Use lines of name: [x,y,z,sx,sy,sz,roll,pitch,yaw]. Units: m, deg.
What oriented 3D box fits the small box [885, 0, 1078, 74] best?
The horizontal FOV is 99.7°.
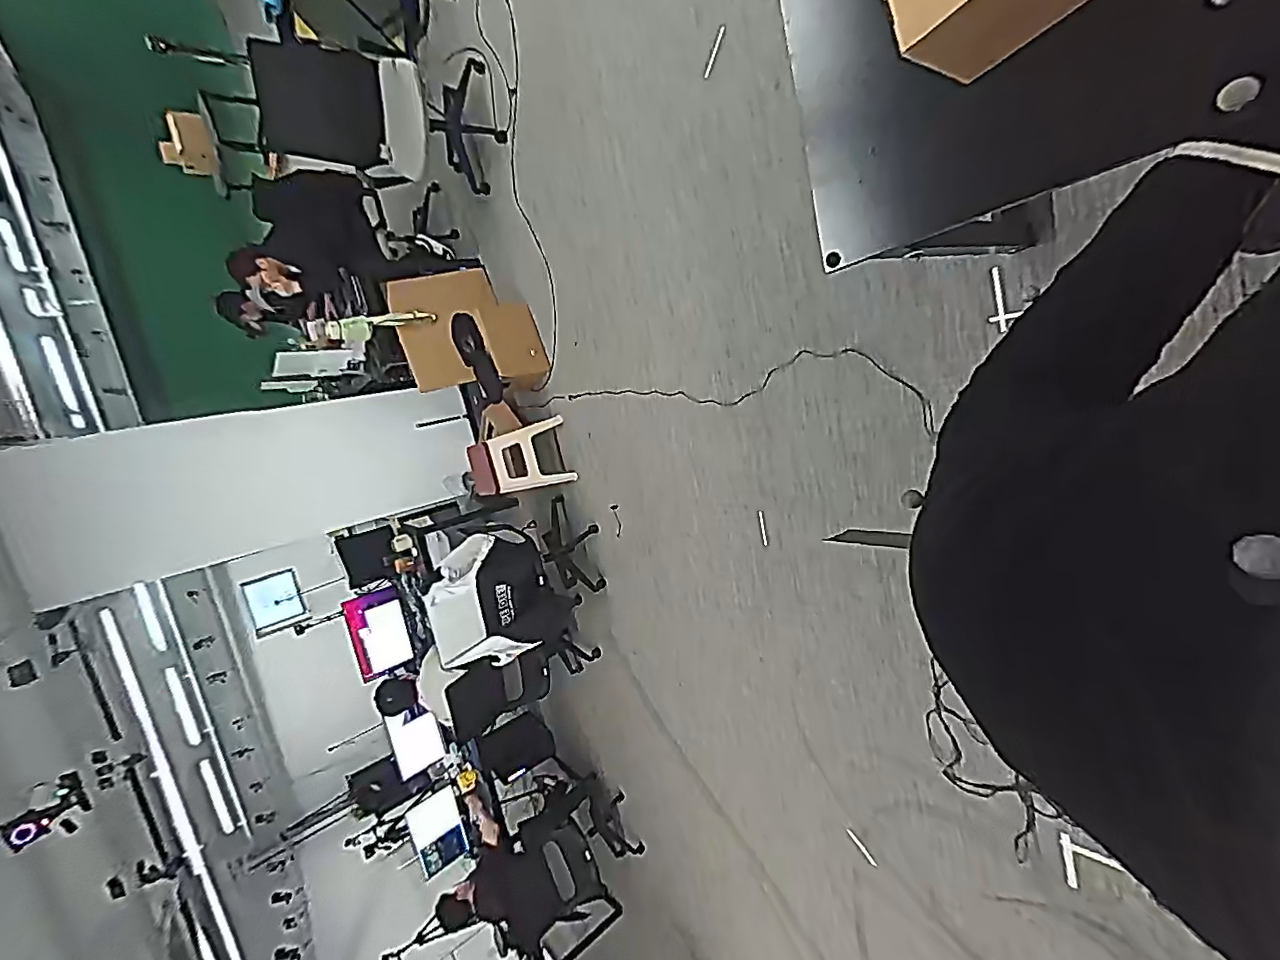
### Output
small box: [0.354,-0.548,0.529,0.179,0.176,0.168,-14,94,55]
